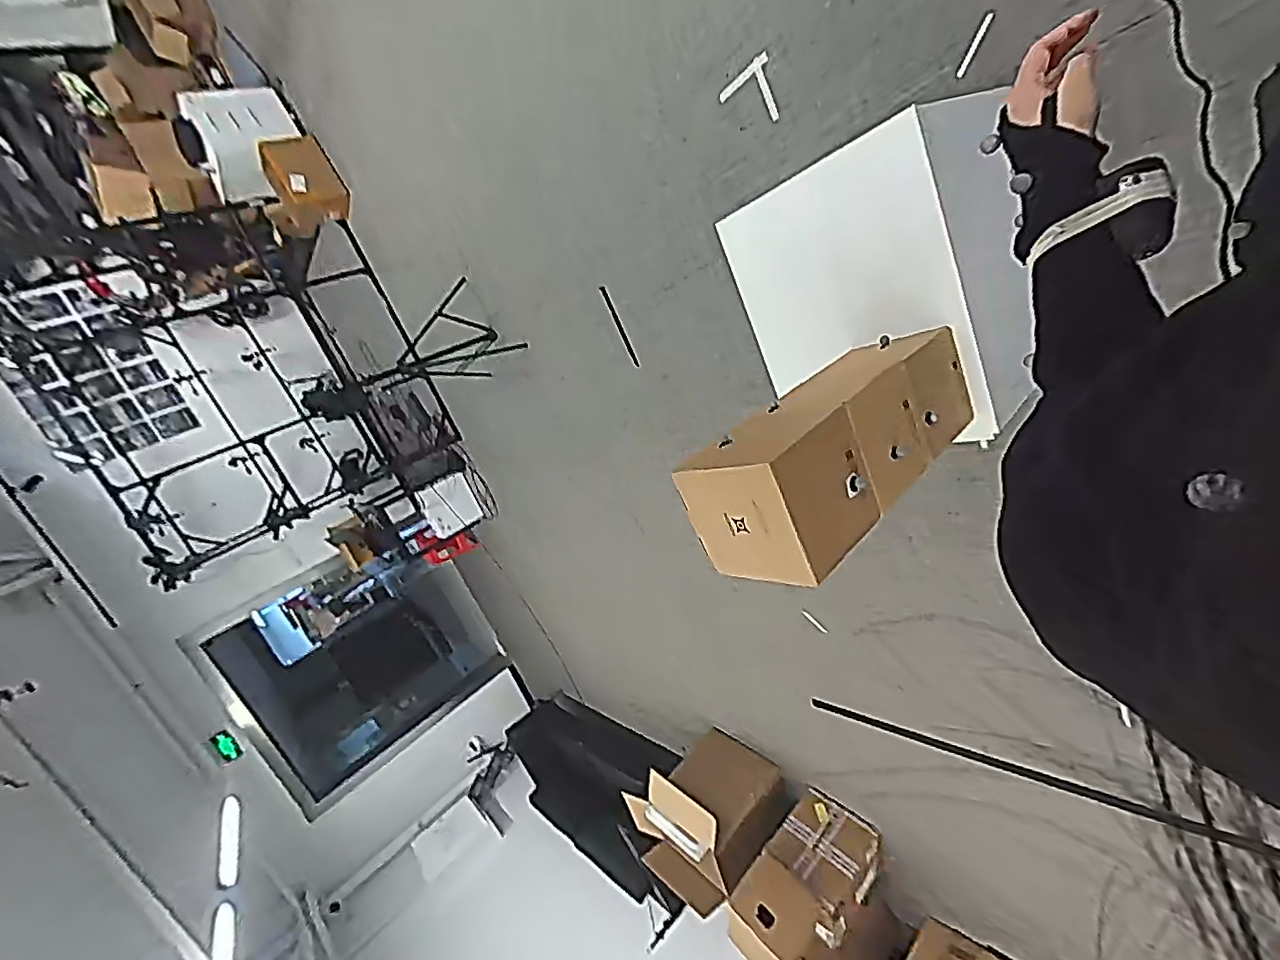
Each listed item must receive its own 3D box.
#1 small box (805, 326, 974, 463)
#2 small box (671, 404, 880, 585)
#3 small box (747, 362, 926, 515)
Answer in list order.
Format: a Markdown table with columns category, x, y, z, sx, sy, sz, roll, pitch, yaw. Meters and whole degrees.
| category | x | y | z | sx | sy | sz | roll | pitch | yaw |
| --- | --- | --- | --- | --- | --- | --- | --- | --- | --- |
| small box | 0.410 | -0.134 | 0.889 | 0.179 | 0.176 | 0.168 | -3 | 115 | 55 |
| small box | 0.179 | 0.016 | 0.715 | 0.179 | 0.176 | 0.168 | -6 | 113 | 54 |
| small box | 0.296 | -0.059 | 0.801 | 0.179 | 0.176 | 0.168 | -5 | 113 | 55 |
